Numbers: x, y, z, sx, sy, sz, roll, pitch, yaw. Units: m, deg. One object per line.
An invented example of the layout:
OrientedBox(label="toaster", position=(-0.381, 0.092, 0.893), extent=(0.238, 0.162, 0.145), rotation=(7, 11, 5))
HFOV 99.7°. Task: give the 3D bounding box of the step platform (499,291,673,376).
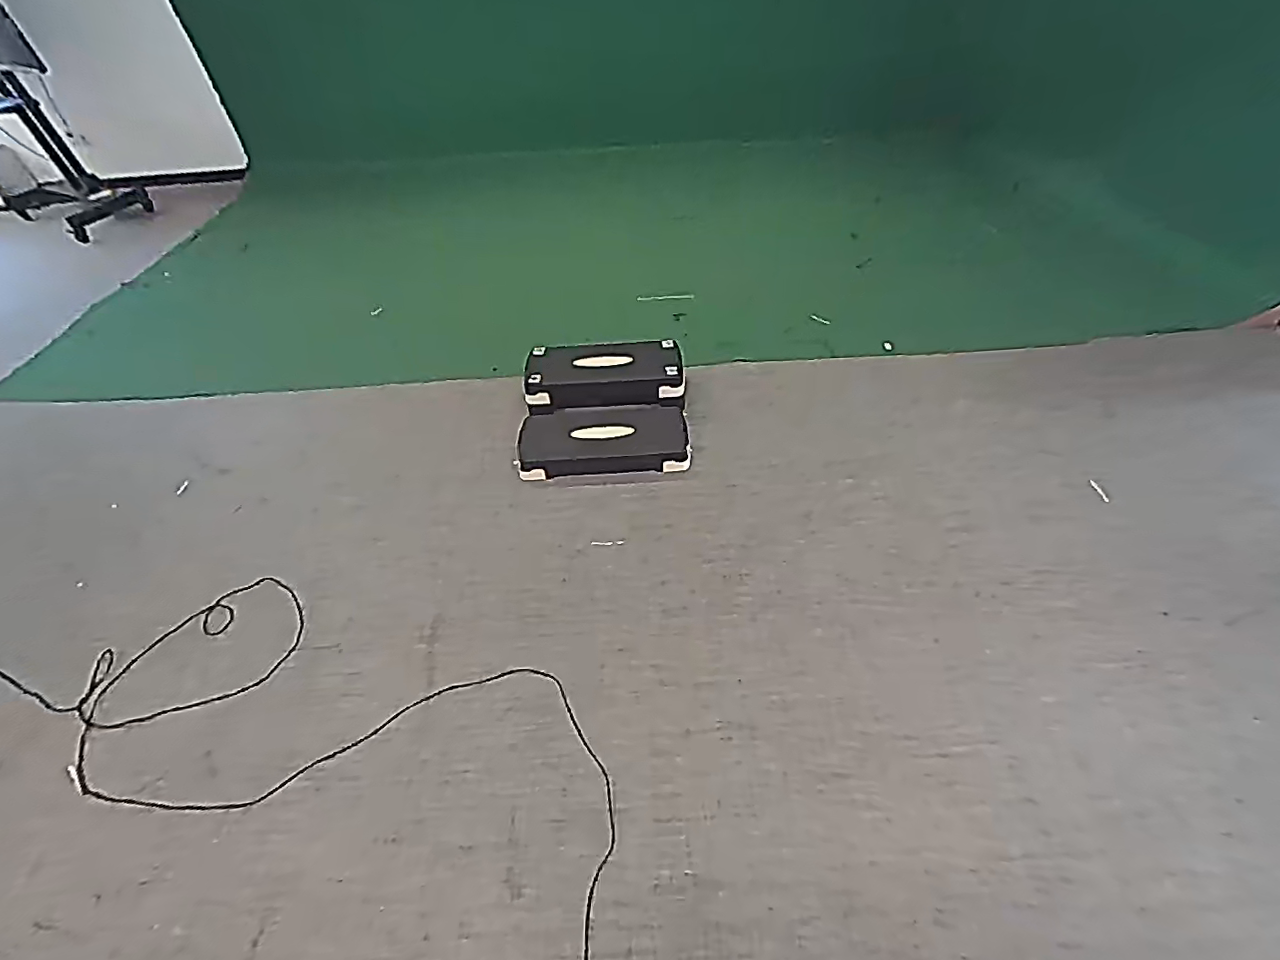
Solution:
OrientedBox(label="step platform", position=(-0.207, -0.596, 2.201), extent=(0.684, 0.204, 0.286), rotation=(-4, 48, 1))
